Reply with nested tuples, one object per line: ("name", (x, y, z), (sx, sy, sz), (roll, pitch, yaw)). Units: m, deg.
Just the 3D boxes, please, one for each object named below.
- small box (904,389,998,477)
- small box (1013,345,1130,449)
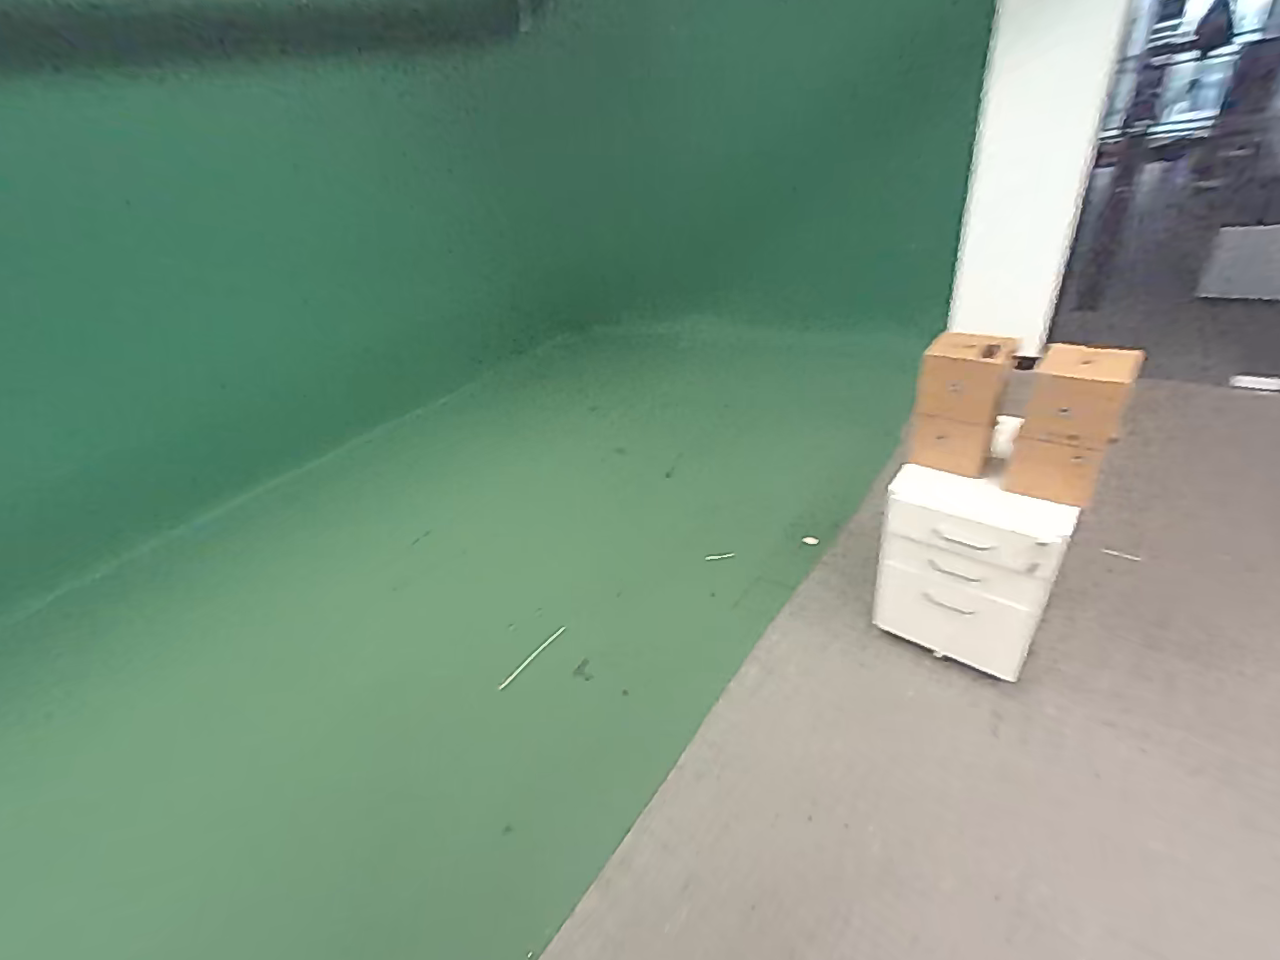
("small box", (0.852, -0.130, 1.492), (0.179, 0.176, 0.168), (20, 45, 35))
("small box", (0.990, -0.193, 1.250), (0.168, 0.176, 0.179), (21, 45, 37))
